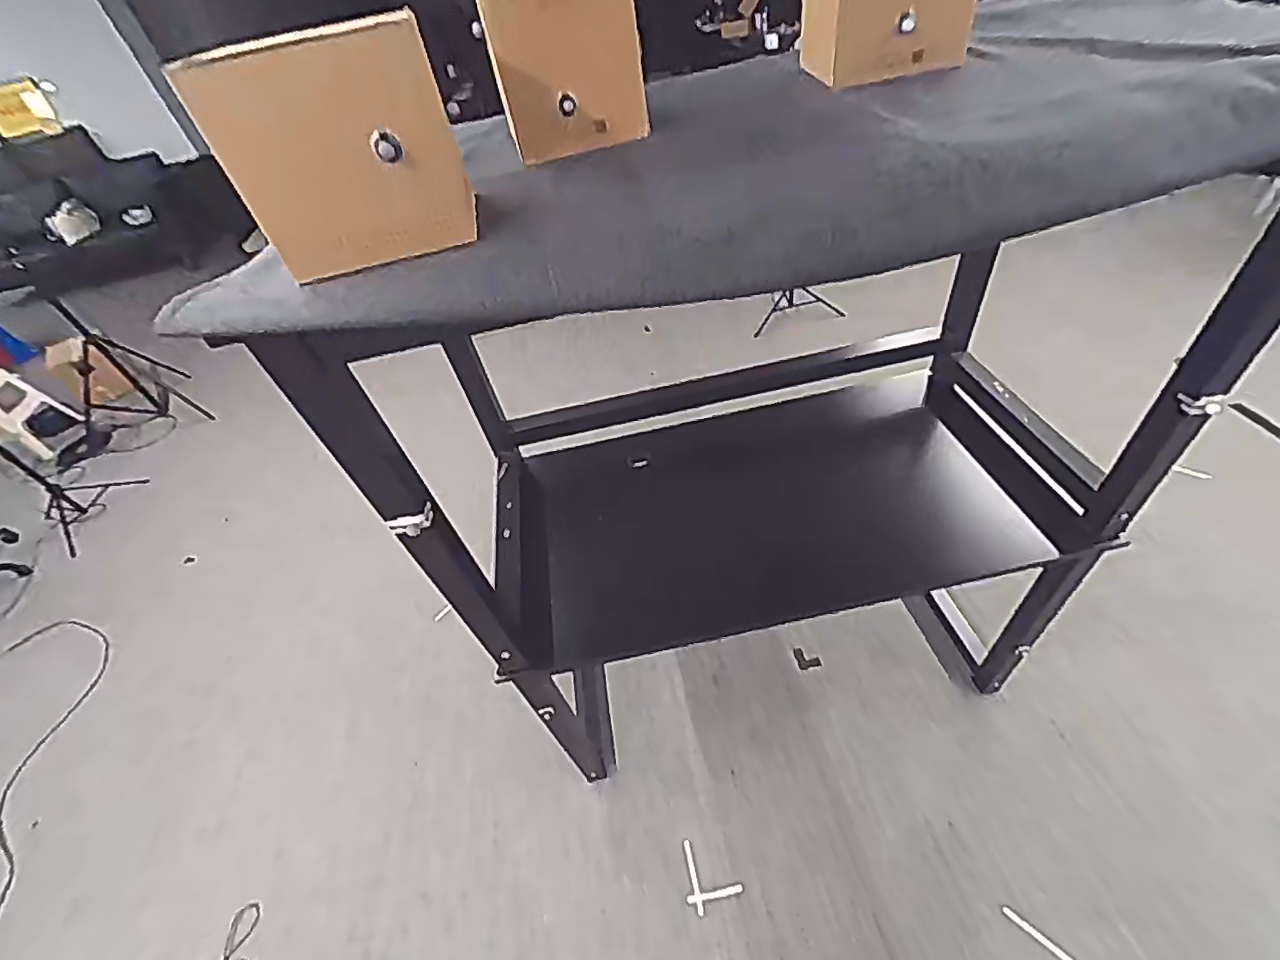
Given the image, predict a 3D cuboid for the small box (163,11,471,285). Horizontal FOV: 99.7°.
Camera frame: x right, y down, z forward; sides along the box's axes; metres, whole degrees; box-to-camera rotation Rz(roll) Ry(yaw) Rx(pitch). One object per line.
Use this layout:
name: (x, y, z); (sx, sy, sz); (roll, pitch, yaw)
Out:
small box: (-0.266, -0.308, 0.505); (0.179, 0.176, 0.168); (-16, 44, -4)

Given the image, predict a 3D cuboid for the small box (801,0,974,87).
small box: (0.310, -0.629, 0.693); (0.168, 0.176, 0.179); (-8, 46, 5)

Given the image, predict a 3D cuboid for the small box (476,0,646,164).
small box: (-0.099, -0.522, 0.680); (0.168, 0.176, 0.179); (-17, 46, -4)
